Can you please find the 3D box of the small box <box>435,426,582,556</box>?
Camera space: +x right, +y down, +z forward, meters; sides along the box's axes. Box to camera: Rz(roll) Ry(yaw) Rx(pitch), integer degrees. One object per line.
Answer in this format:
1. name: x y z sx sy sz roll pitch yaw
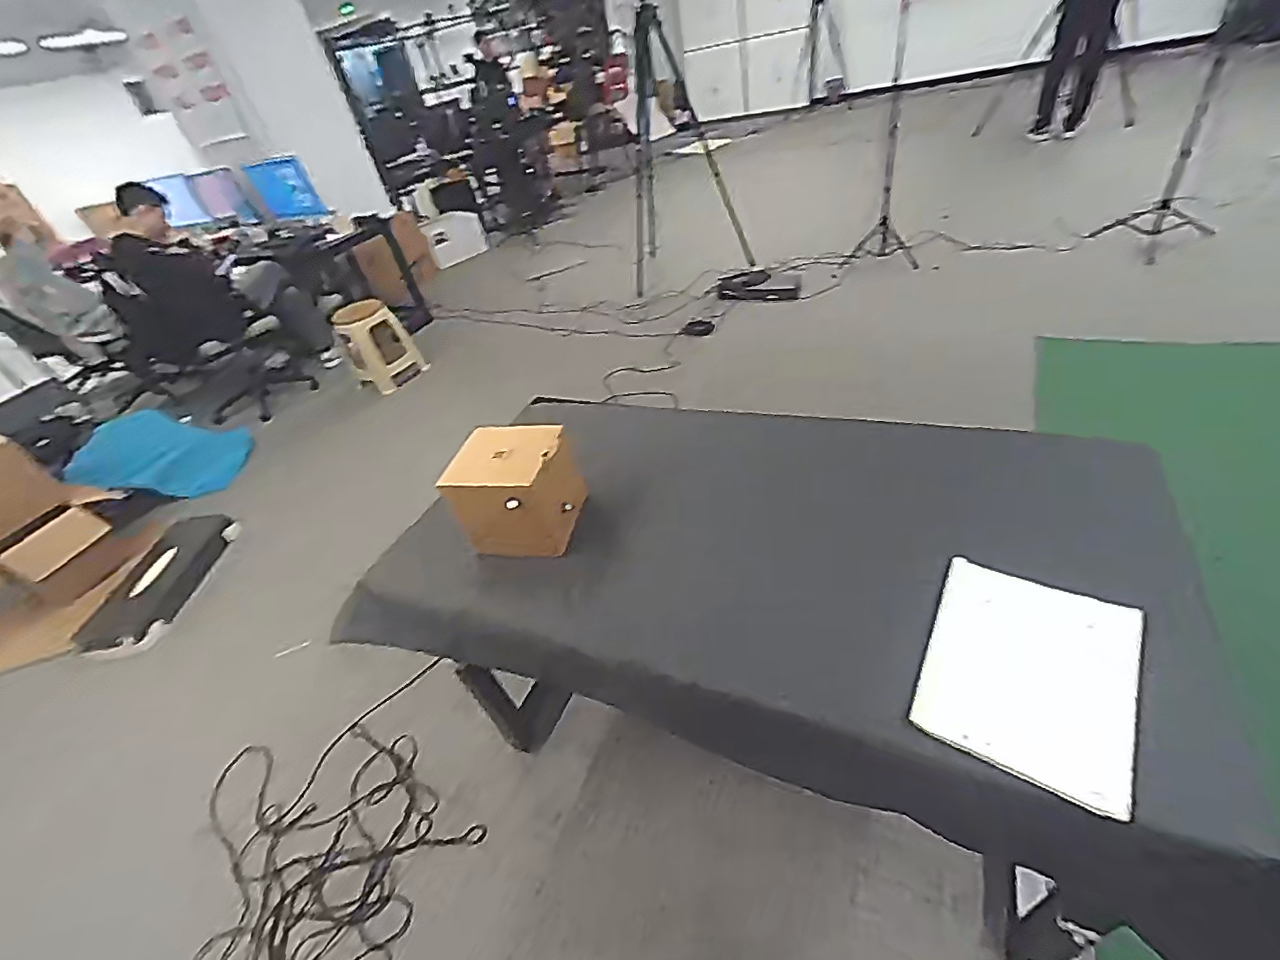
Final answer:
1. small box: -0.221 0.021 0.962 0.179 0.176 0.168 -1 40 15
